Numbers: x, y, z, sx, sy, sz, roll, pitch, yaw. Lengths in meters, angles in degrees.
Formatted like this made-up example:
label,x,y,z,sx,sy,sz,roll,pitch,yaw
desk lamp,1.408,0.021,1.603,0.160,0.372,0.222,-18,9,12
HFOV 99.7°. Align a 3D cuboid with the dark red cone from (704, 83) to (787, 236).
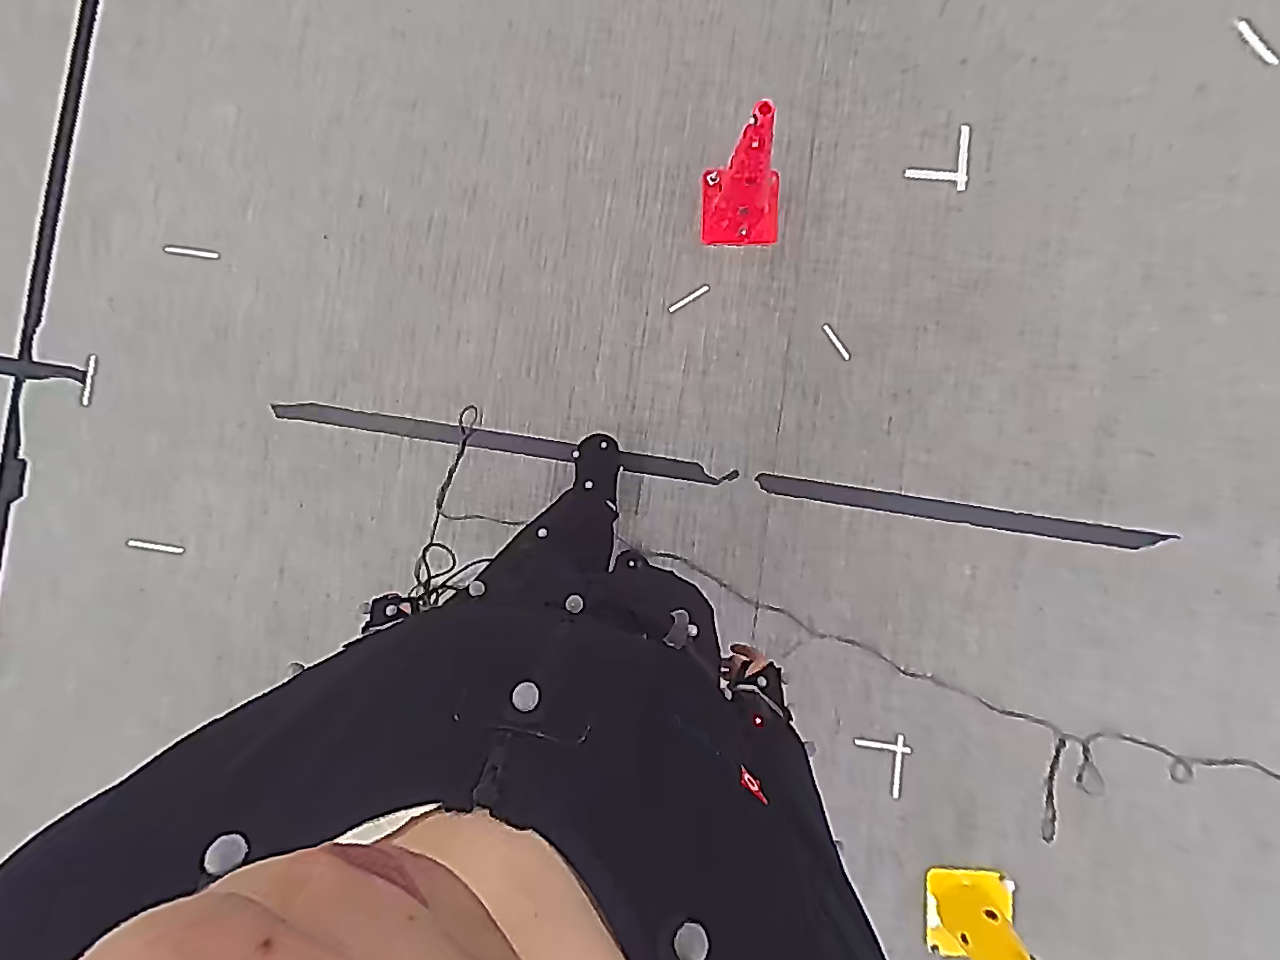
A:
label,x,y,z,sx,sy,sz,roll,pitch,yaw
dark red cone,0.256,-0.715,1.194,0.202,0.394,0.201,1,89,2
